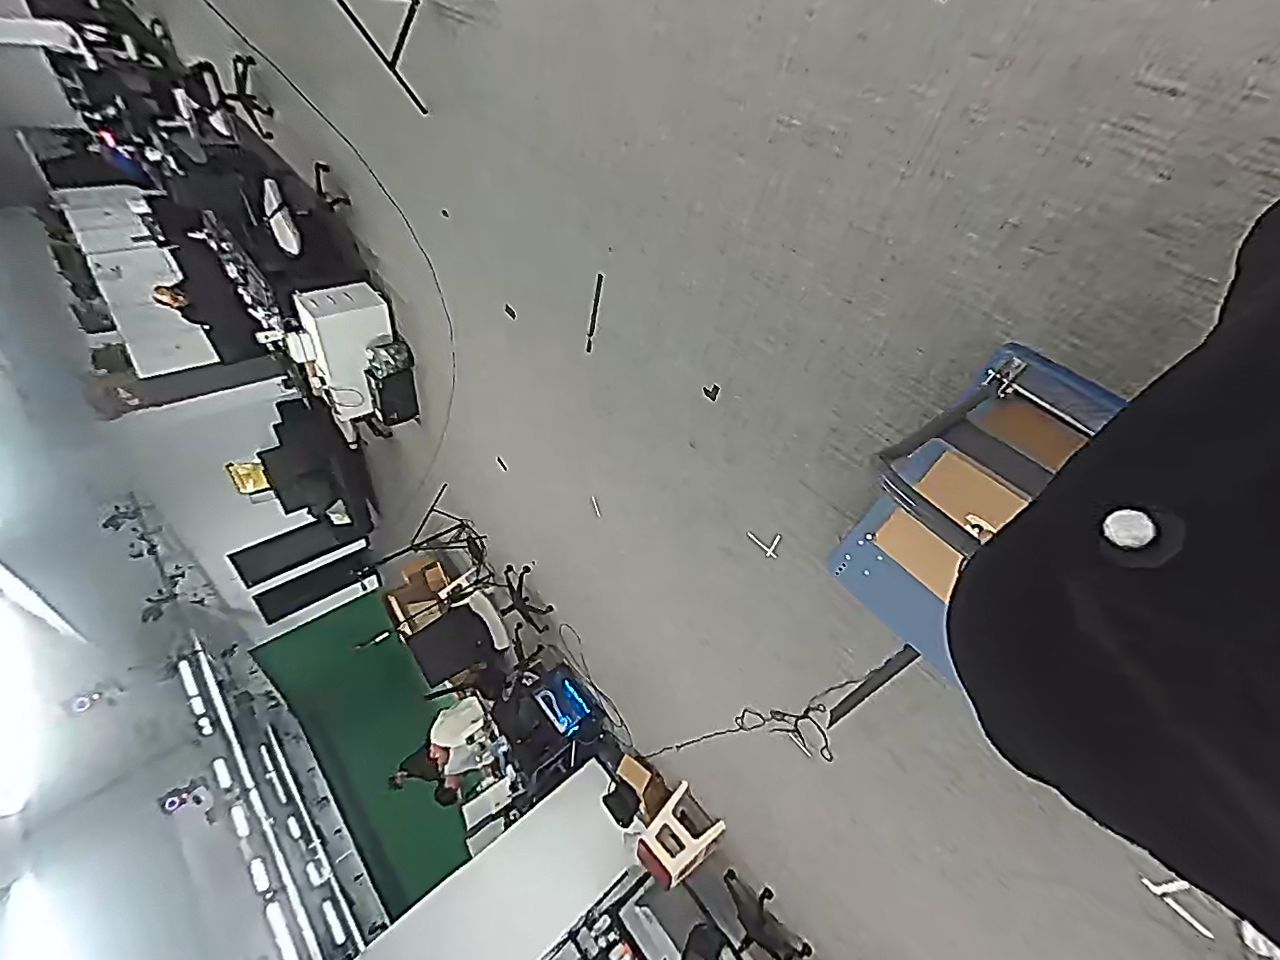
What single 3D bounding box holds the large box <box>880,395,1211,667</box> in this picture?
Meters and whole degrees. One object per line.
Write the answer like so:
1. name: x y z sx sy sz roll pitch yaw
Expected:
1. large box: 0.813 0.091 1.126 0.408 0.320 0.320 46 142 25
